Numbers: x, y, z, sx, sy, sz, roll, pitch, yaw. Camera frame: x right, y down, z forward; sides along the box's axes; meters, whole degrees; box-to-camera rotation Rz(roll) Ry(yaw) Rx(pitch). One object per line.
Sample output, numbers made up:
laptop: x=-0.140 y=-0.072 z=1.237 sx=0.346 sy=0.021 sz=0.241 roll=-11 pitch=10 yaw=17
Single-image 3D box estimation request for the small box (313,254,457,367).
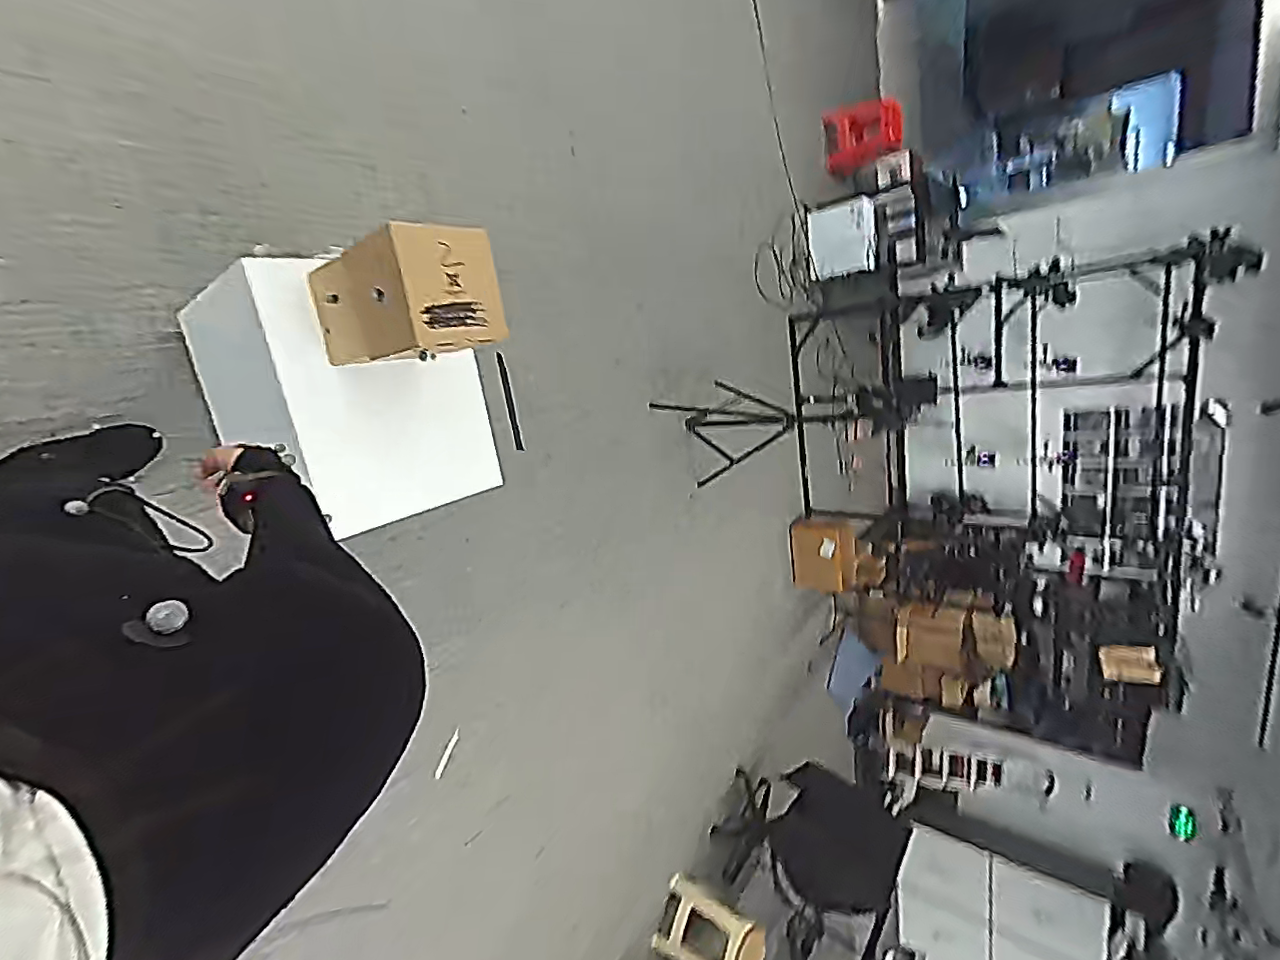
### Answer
small box: x=-0.470 y=-0.305 z=0.991 sx=0.179 sy=0.176 sz=0.168 roll=-23 pitch=109 yaw=-48
